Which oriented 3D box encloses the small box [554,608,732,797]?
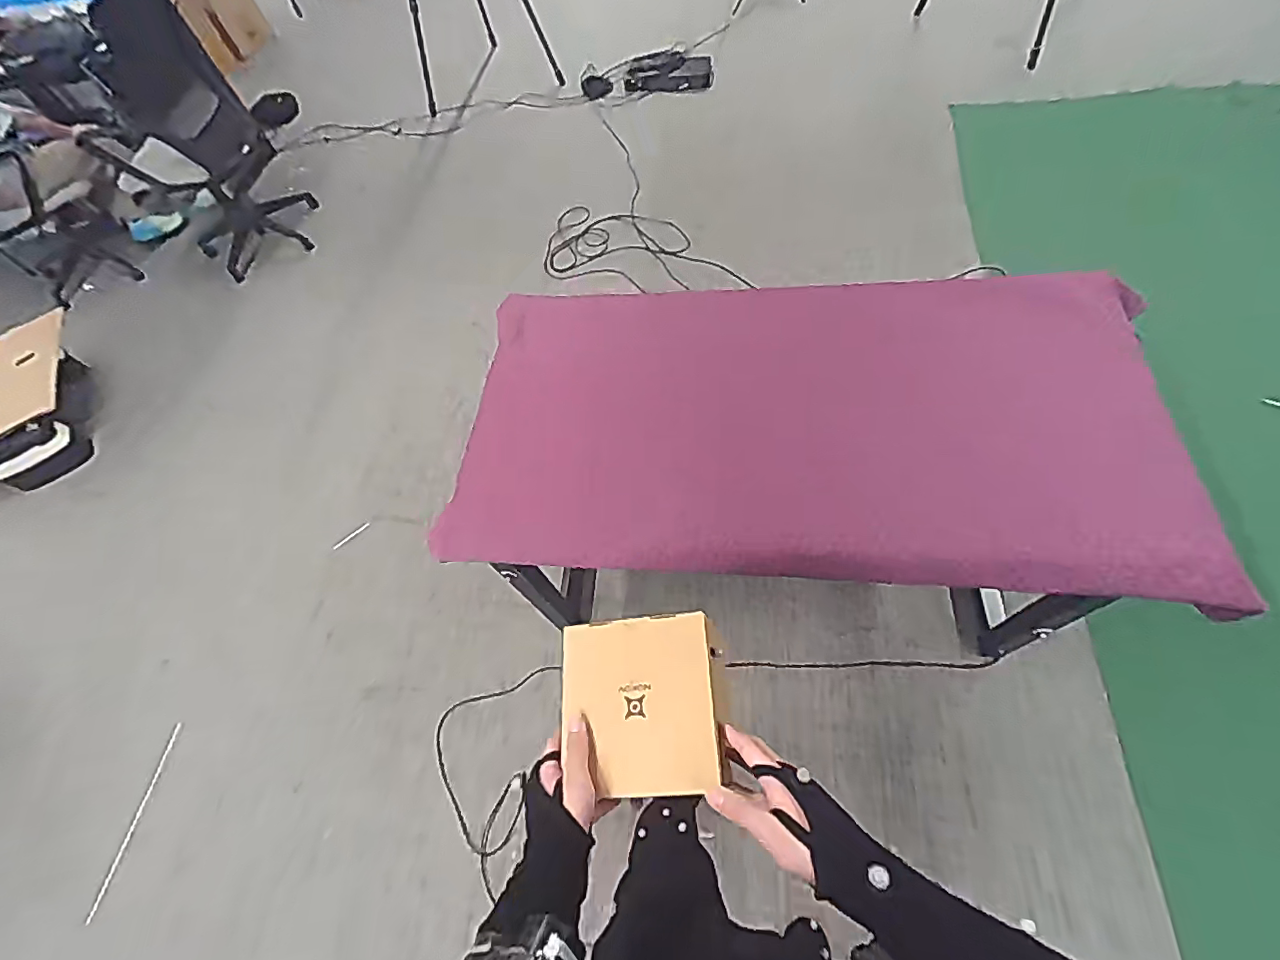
[{"bbox_3d":[0.009,0.262,0.634,0.168,0.176,0.179,-10,62,12],"label":"small box"}]
